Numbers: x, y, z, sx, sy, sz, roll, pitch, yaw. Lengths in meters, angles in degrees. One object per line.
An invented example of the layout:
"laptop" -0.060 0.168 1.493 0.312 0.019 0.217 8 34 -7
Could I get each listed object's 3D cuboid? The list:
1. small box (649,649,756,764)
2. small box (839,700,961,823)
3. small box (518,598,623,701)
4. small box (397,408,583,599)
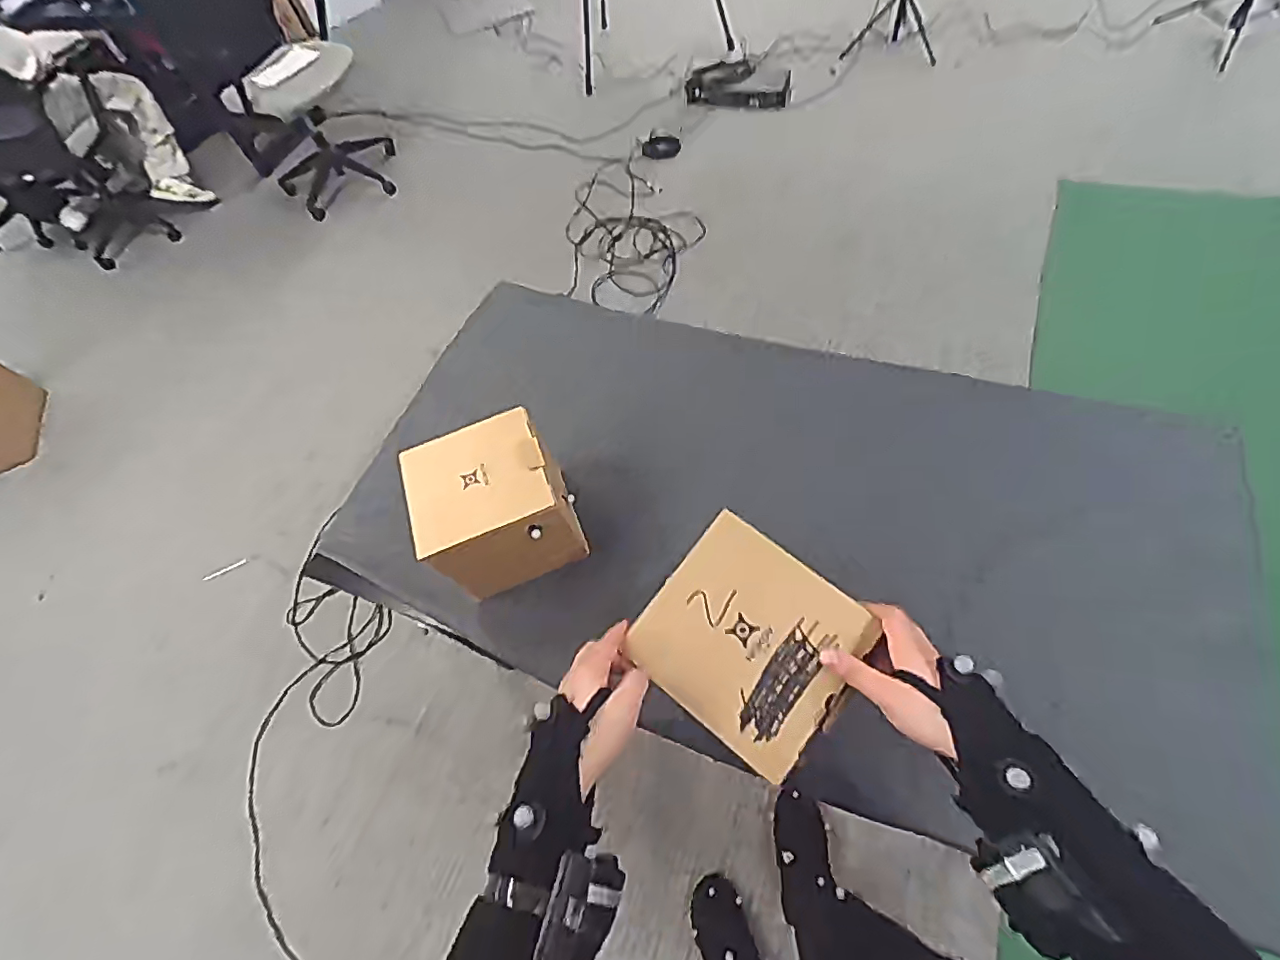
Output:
"small box" 0.148 0.524 1.242 0.179 0.176 0.168 34 70 27
"small box" 0.535 0.590 1.135 0.179 0.176 0.168 20 66 19
"small box" -0.167 0.429 1.352 0.179 0.176 0.168 26 68 23
"small box" -0.197 0.040 0.734 0.179 0.176 0.168 -22 59 -4
